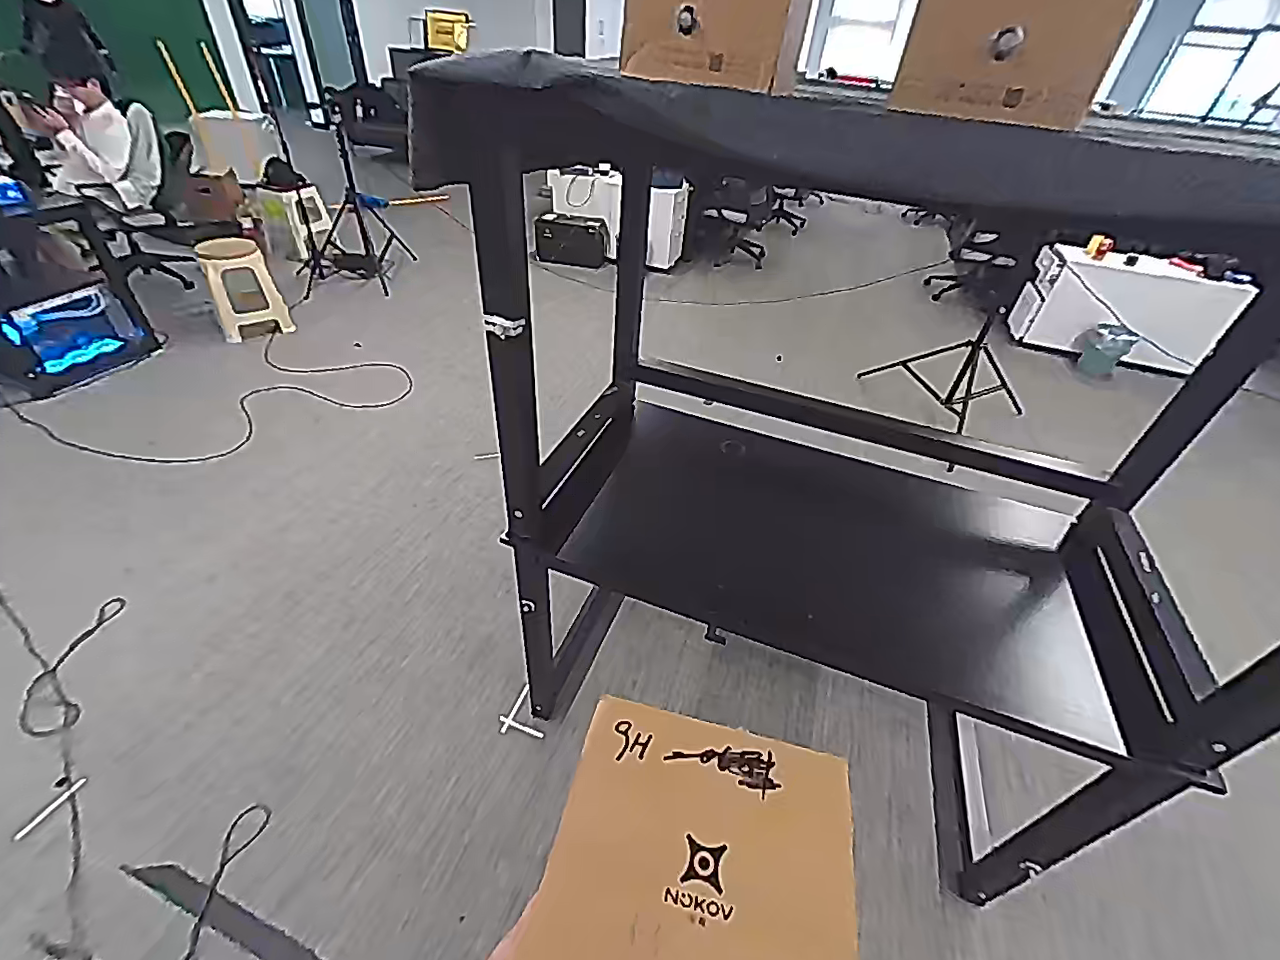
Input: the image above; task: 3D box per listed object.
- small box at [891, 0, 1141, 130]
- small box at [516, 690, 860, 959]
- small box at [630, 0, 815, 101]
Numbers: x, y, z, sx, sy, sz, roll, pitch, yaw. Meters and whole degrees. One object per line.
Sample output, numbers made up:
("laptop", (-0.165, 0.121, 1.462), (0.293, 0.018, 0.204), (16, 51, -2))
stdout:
("small box", (0.350, -0.443, 0.510), (0.168, 0.176, 0.179), (17, 39, 14))
("small box", (0.027, 0.270, 0.340), (0.168, 0.176, 0.179), (13, 43, 7))
("small box", (0.094, -0.518, 0.574), (0.168, 0.176, 0.179), (17, 39, 12))
